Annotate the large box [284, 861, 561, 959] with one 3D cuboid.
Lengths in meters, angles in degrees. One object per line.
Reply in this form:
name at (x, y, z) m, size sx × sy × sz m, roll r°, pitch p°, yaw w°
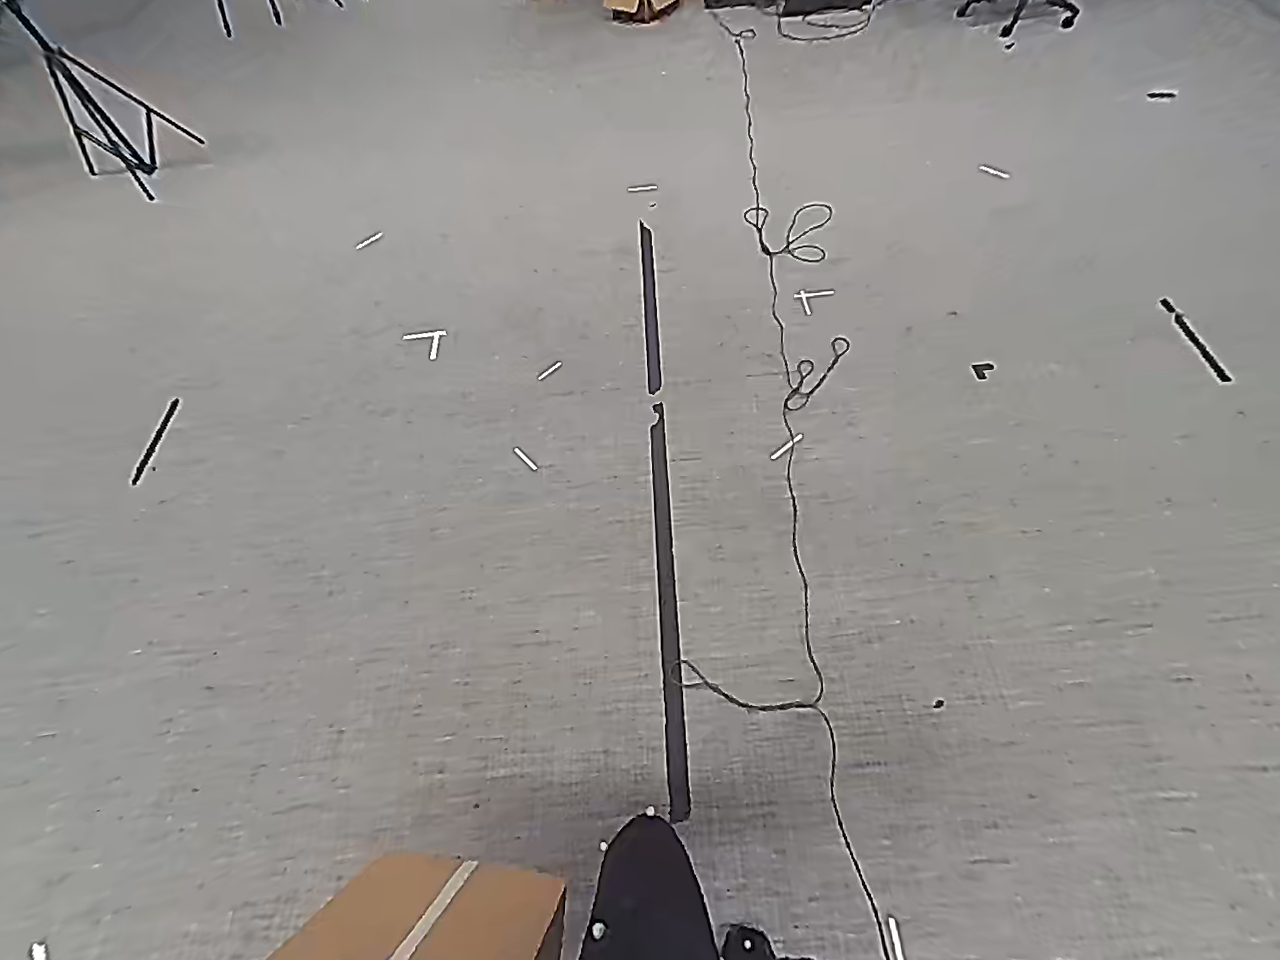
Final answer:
large box at (-0.307, 0.762, 0.659) m, size 0.320 × 0.408 × 0.320 m, roll 3°, pitch 84°, yaw 8°
